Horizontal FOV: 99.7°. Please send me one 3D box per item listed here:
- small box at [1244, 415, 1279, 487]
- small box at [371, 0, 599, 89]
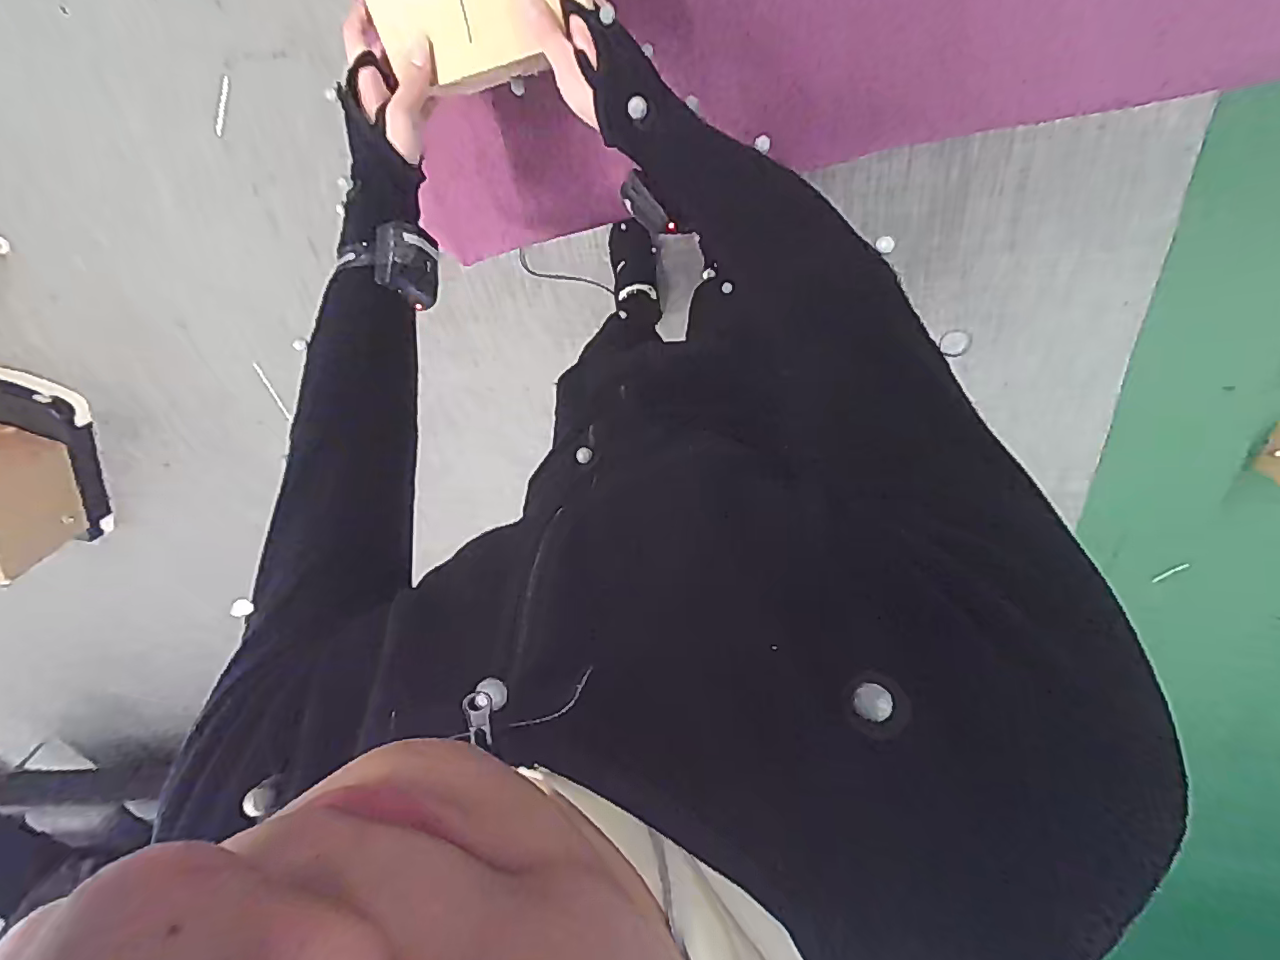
[{"bbox_3d":[1.856,-0.077,1.482,0.179,0.176,0.168,-4,123,8],"label":"small box"},{"bbox_3d":[-0.145,-0.479,0.490,0.168,0.176,0.179,-8,126,12],"label":"small box"}]
